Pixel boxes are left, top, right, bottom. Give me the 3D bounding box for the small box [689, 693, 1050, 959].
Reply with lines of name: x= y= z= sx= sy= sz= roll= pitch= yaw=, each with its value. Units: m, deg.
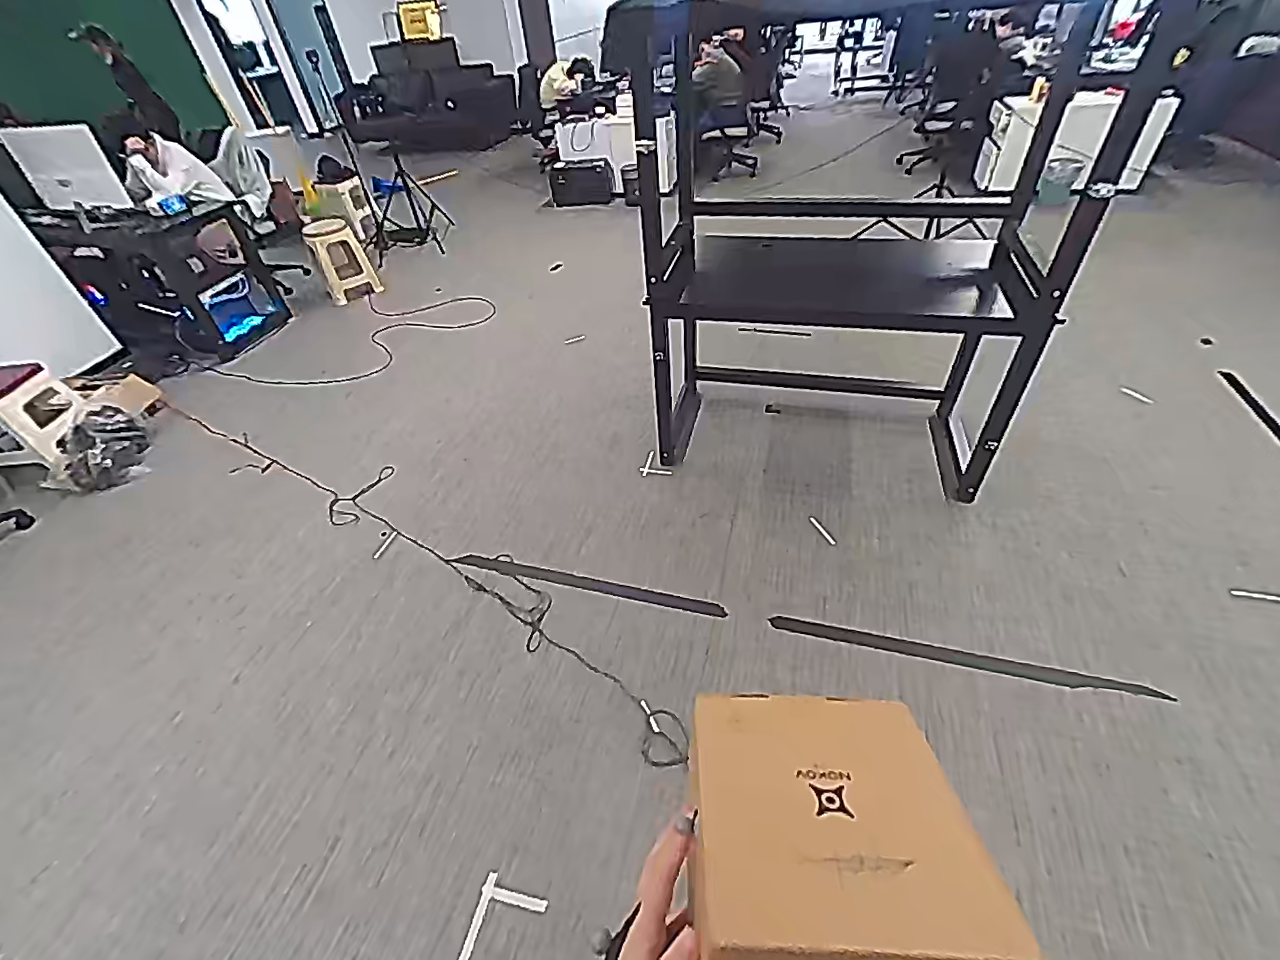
small box: x=0.122 y=0.277 z=0.372 sx=0.168 sy=0.176 sz=0.179 roll=1 pitch=21 yaw=2
